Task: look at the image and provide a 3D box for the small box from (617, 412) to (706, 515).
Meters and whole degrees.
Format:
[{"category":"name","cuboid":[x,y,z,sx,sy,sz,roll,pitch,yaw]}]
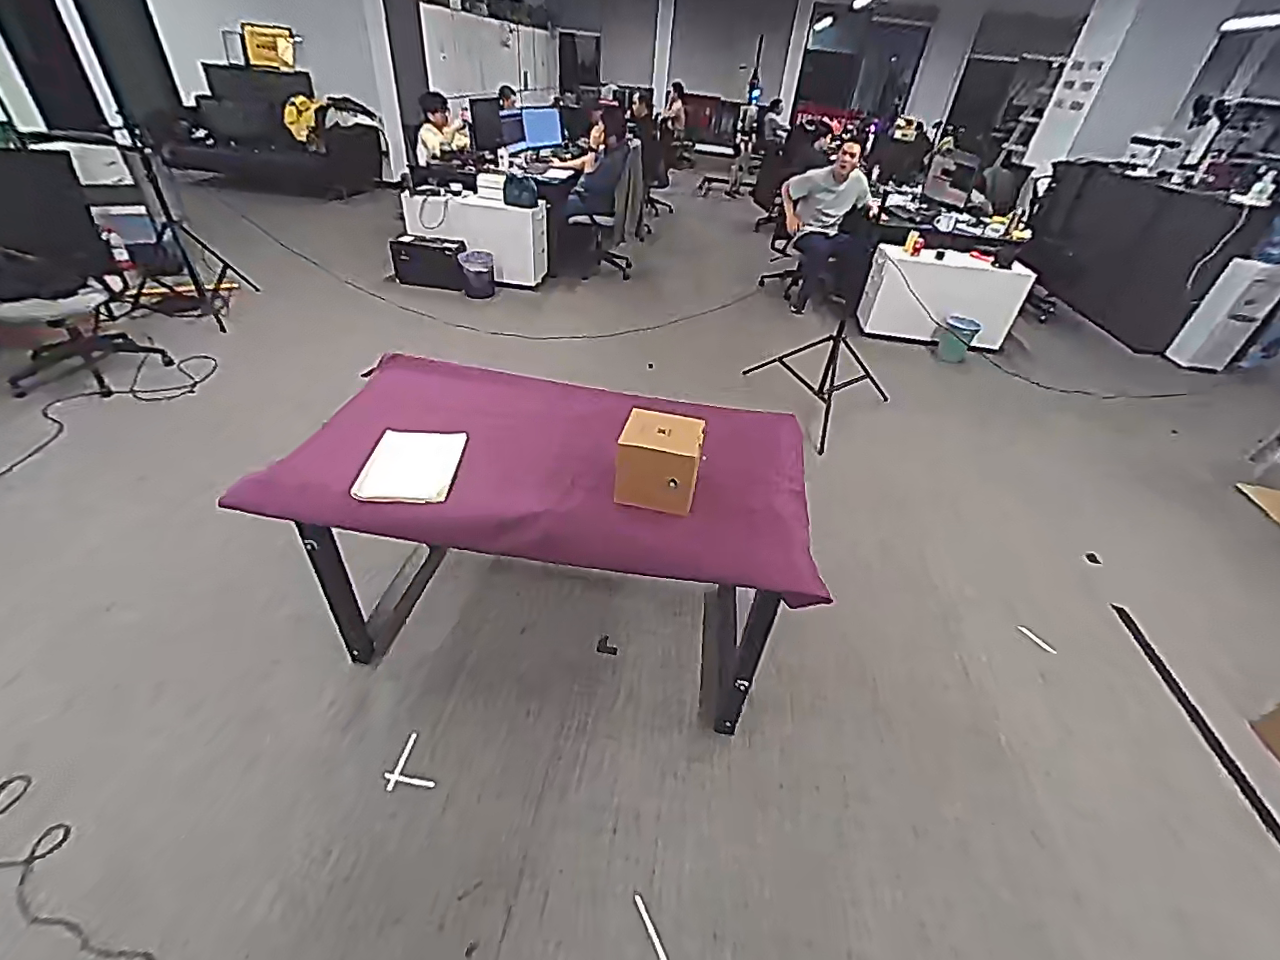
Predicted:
[{"category":"small box","cuboid":[0.050,-0.037,1.257,0.179,0.176,0.168,9,35,8]}]
